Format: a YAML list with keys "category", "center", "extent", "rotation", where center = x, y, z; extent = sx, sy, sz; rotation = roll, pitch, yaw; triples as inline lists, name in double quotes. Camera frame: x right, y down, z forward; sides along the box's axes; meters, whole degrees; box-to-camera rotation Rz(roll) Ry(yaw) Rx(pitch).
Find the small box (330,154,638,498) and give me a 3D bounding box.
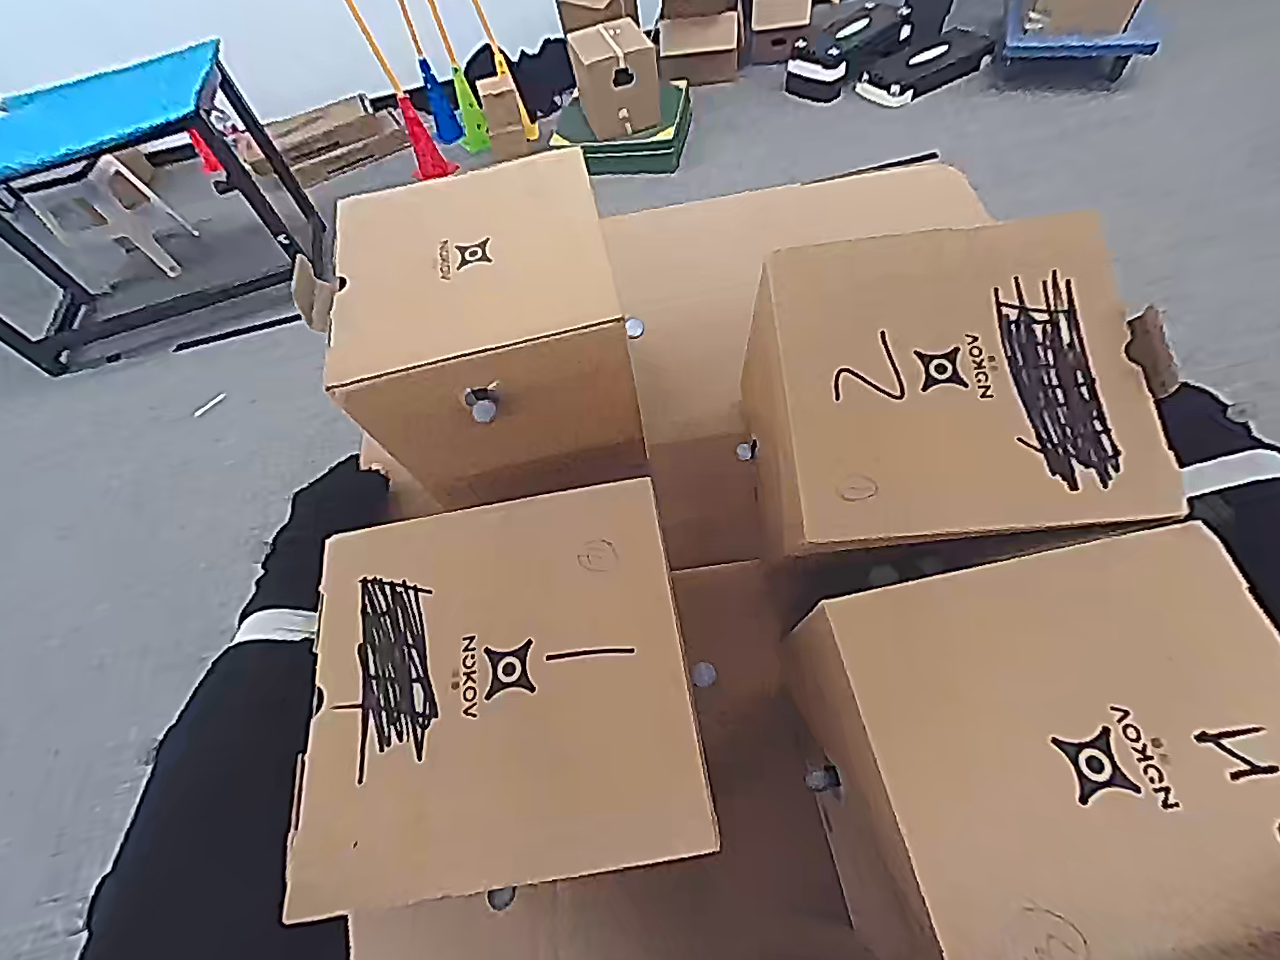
- category: "small box"
  center: [-0.103, -0.106, 0.420]
  extent: [0.179, 0.176, 0.168]
  rotation: [-14, 62, 1]
